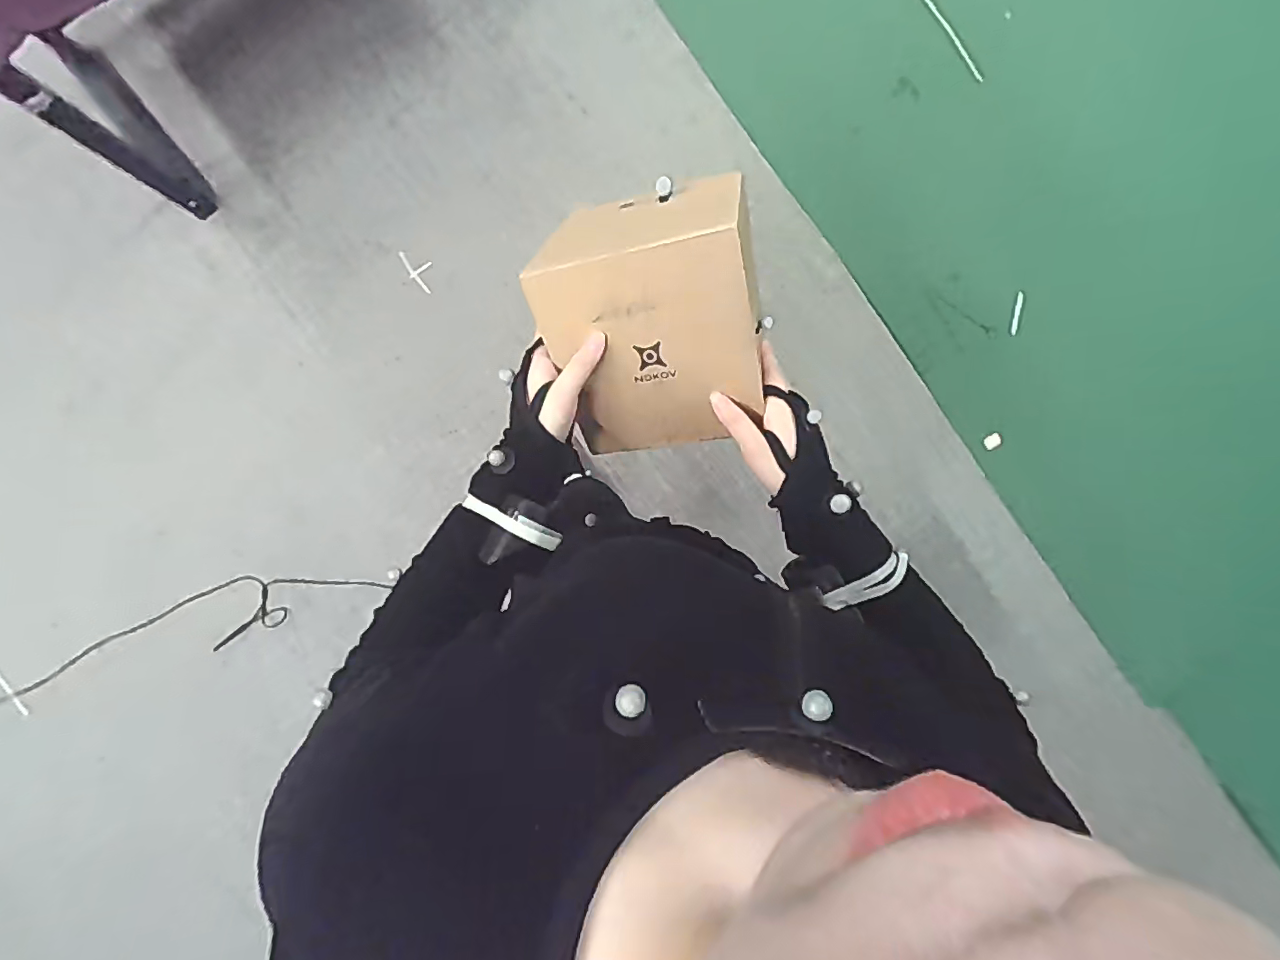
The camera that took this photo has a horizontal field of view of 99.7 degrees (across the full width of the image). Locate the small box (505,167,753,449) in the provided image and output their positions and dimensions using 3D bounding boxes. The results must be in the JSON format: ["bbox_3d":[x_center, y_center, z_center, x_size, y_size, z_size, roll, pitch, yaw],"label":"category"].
[{"bbox_3d":[0.010,-0.153,0.491,0.168,0.176,0.179,-6,129,17],"label":"small box"}]
